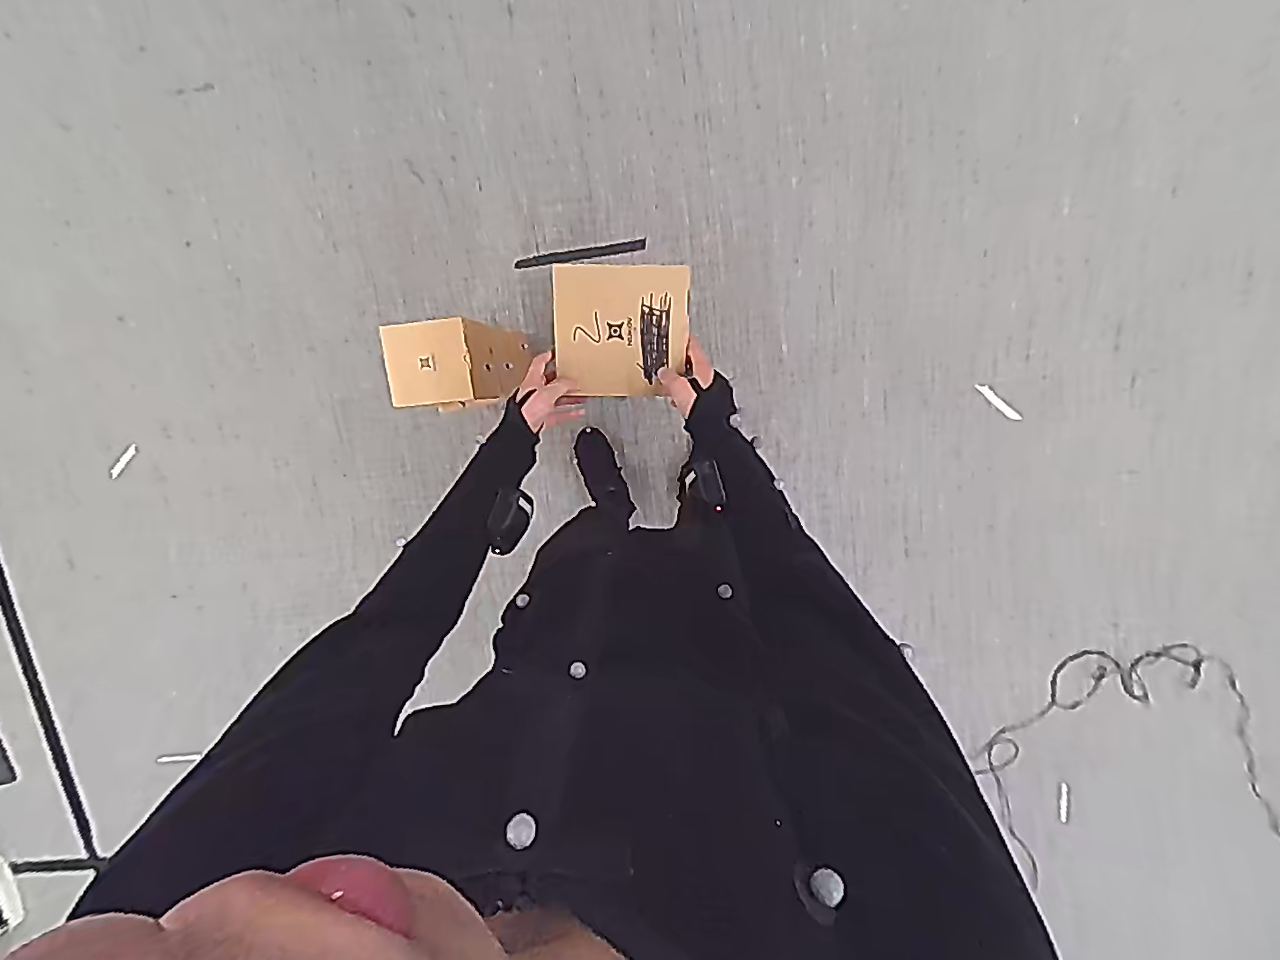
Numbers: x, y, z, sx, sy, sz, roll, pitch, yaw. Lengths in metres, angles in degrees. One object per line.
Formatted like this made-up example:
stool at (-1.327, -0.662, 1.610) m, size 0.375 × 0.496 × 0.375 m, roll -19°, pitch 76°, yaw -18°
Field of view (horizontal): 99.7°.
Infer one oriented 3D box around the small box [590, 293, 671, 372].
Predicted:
small box at (-0.021, -0.349, 1.300) m, size 0.179 × 0.176 × 0.168 m, roll -4°, pitch 100°, yaw 2°

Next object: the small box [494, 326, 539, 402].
small box at (-0.391, -0.313, 1.488) m, size 0.168 × 0.176 × 0.179 m, roll -12°, pitch 100°, yaw 4°

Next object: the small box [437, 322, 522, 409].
small box at (-0.404, -0.277, 1.329) m, size 0.168 × 0.176 × 0.179 m, roll -10°, pitch 100°, yaw 5°

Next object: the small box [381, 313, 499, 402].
small box at (-0.424, -0.257, 1.168) m, size 0.179 × 0.176 × 0.168 m, roll -5°, pitch 100°, yaw 4°
